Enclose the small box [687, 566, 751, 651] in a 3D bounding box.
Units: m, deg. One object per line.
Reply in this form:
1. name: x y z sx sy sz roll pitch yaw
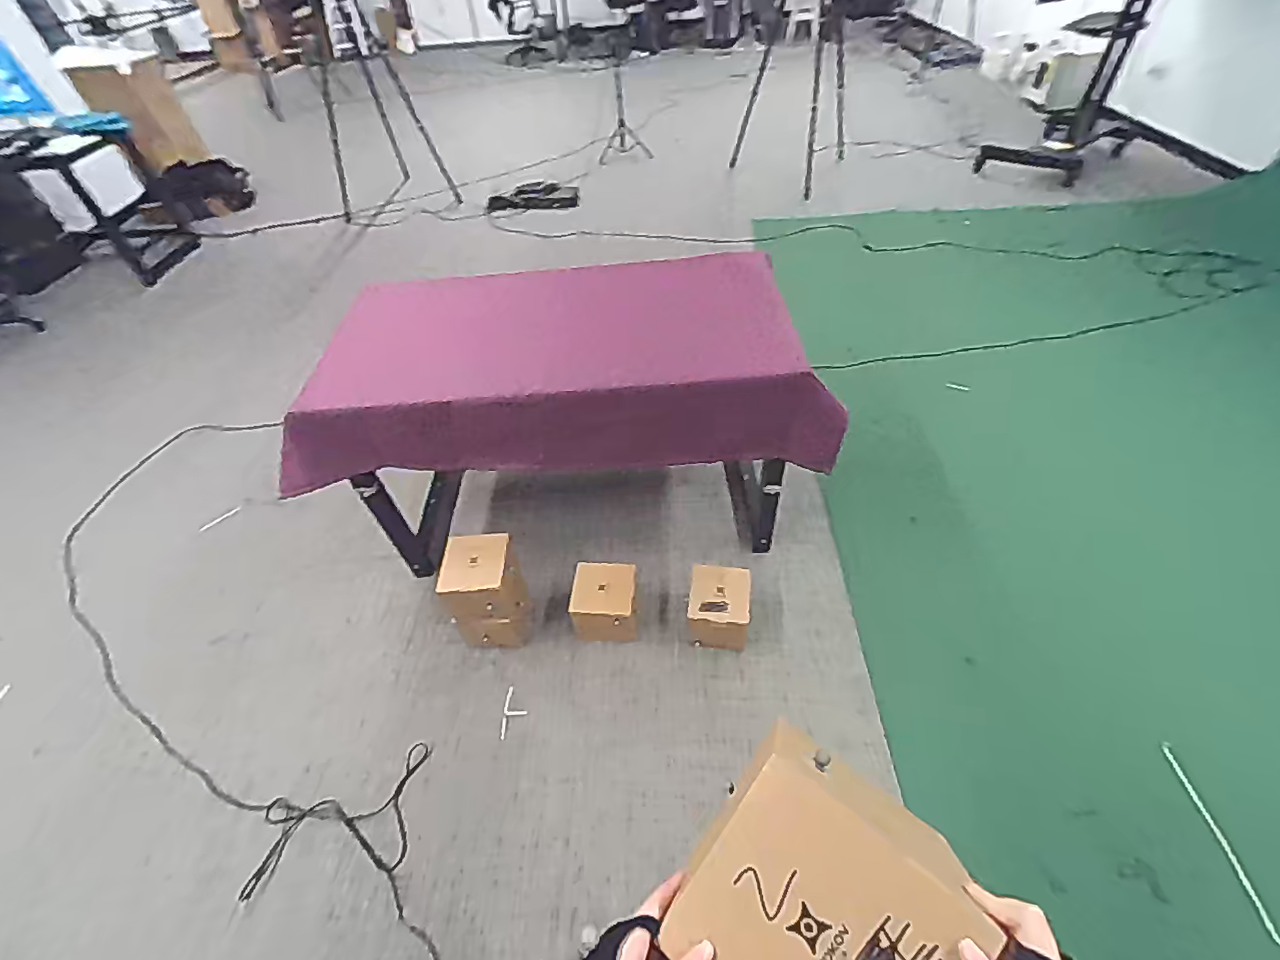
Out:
1. small box: 0.229 0.373 1.560 0.168 0.176 0.179 5 47 9
